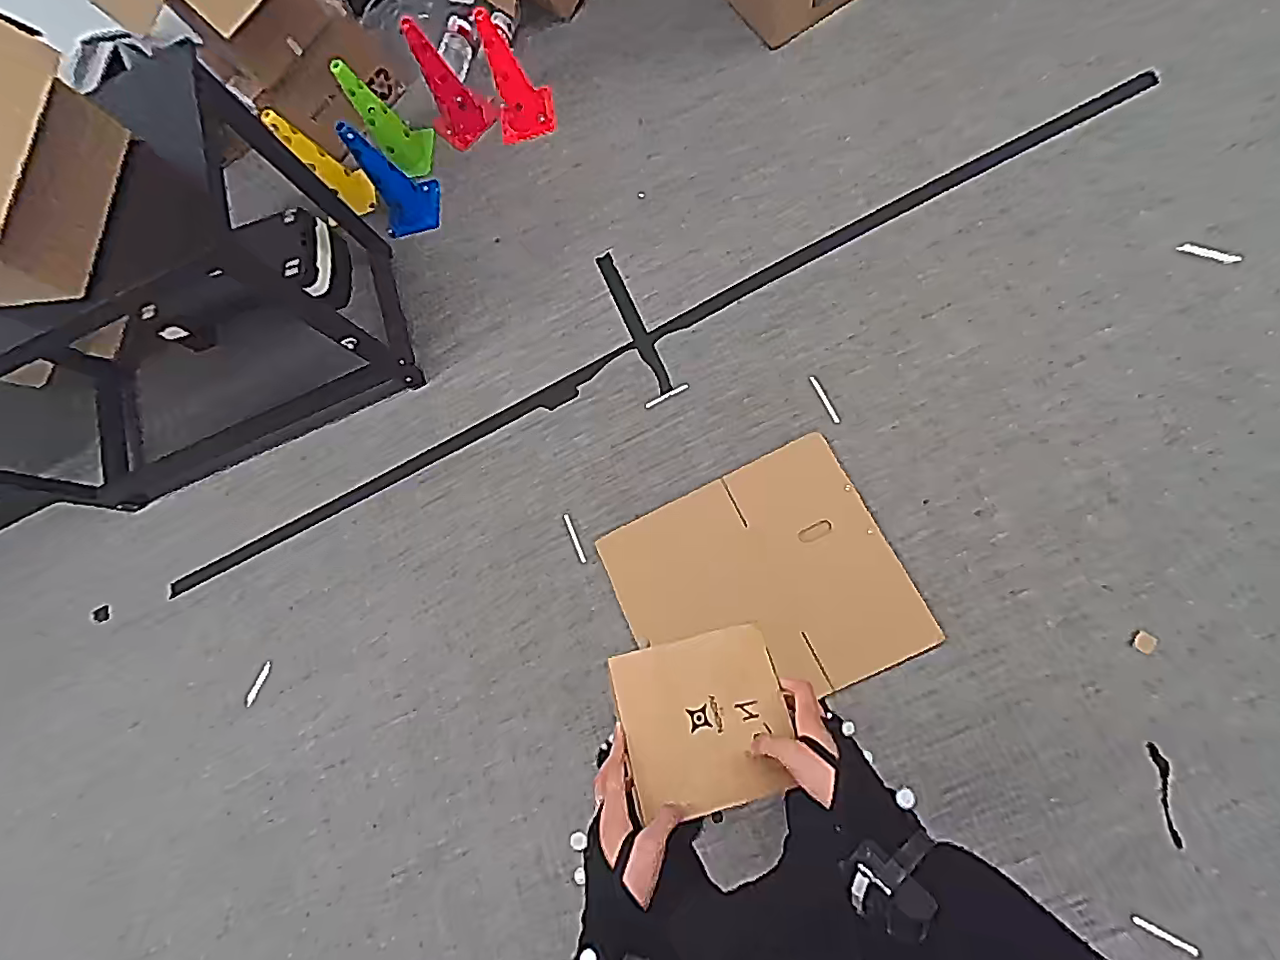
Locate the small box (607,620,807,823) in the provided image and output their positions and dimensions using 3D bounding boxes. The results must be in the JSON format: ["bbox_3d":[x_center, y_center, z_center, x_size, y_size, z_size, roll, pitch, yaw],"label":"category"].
[{"bbox_3d":[0.063,0.278,0.631,0.179,0.176,0.168,-11,65,-9],"label":"small box"}]
